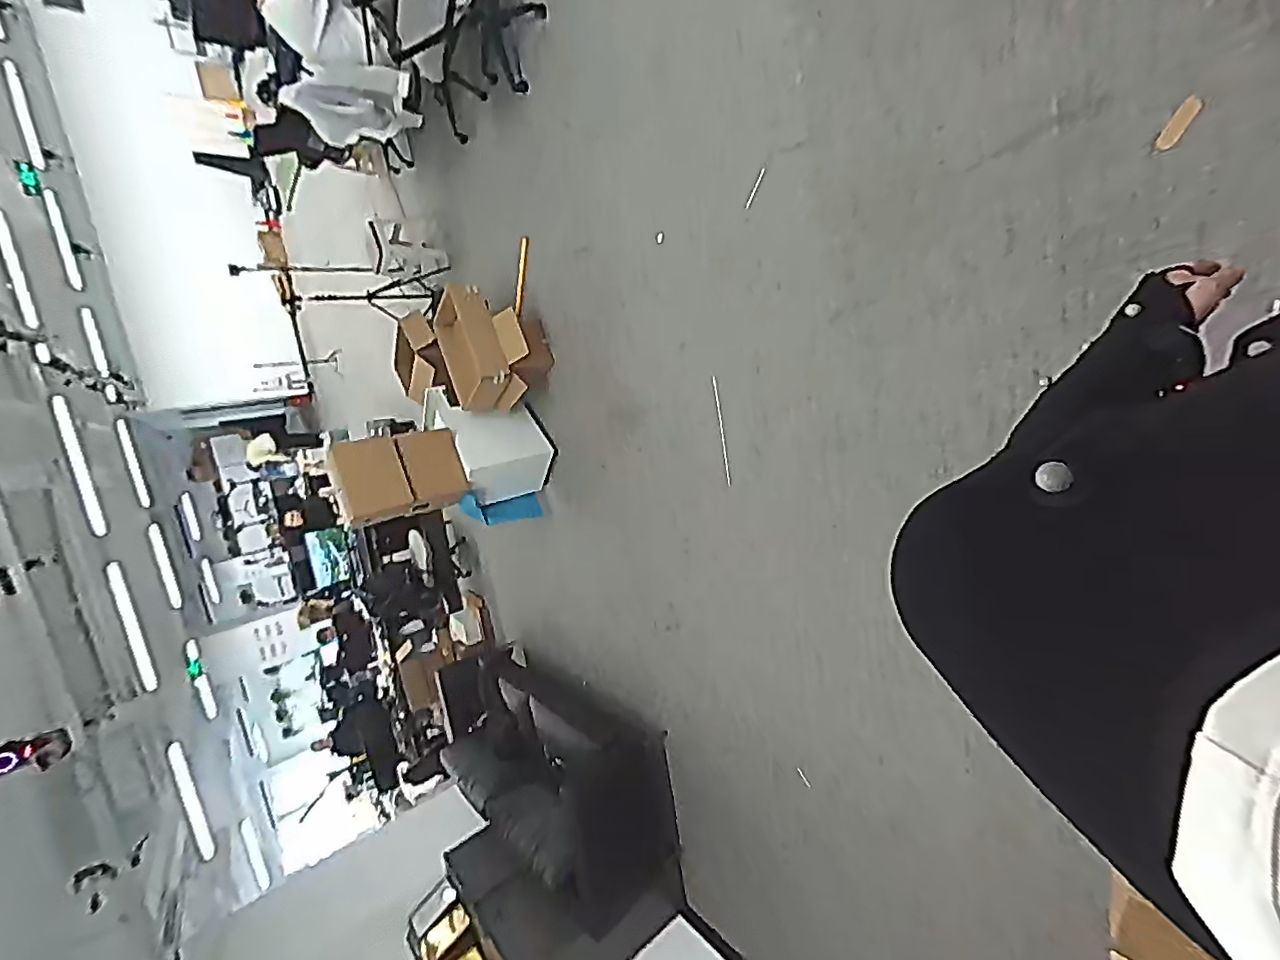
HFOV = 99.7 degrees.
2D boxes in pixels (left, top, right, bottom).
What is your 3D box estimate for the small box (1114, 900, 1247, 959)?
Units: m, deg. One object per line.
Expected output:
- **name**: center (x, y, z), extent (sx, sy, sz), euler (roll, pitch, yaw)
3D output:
- **small box**: center (1.081, 1.005, 1.083), extent (0.179, 0.176, 0.168), euler (4, 105, 51)
